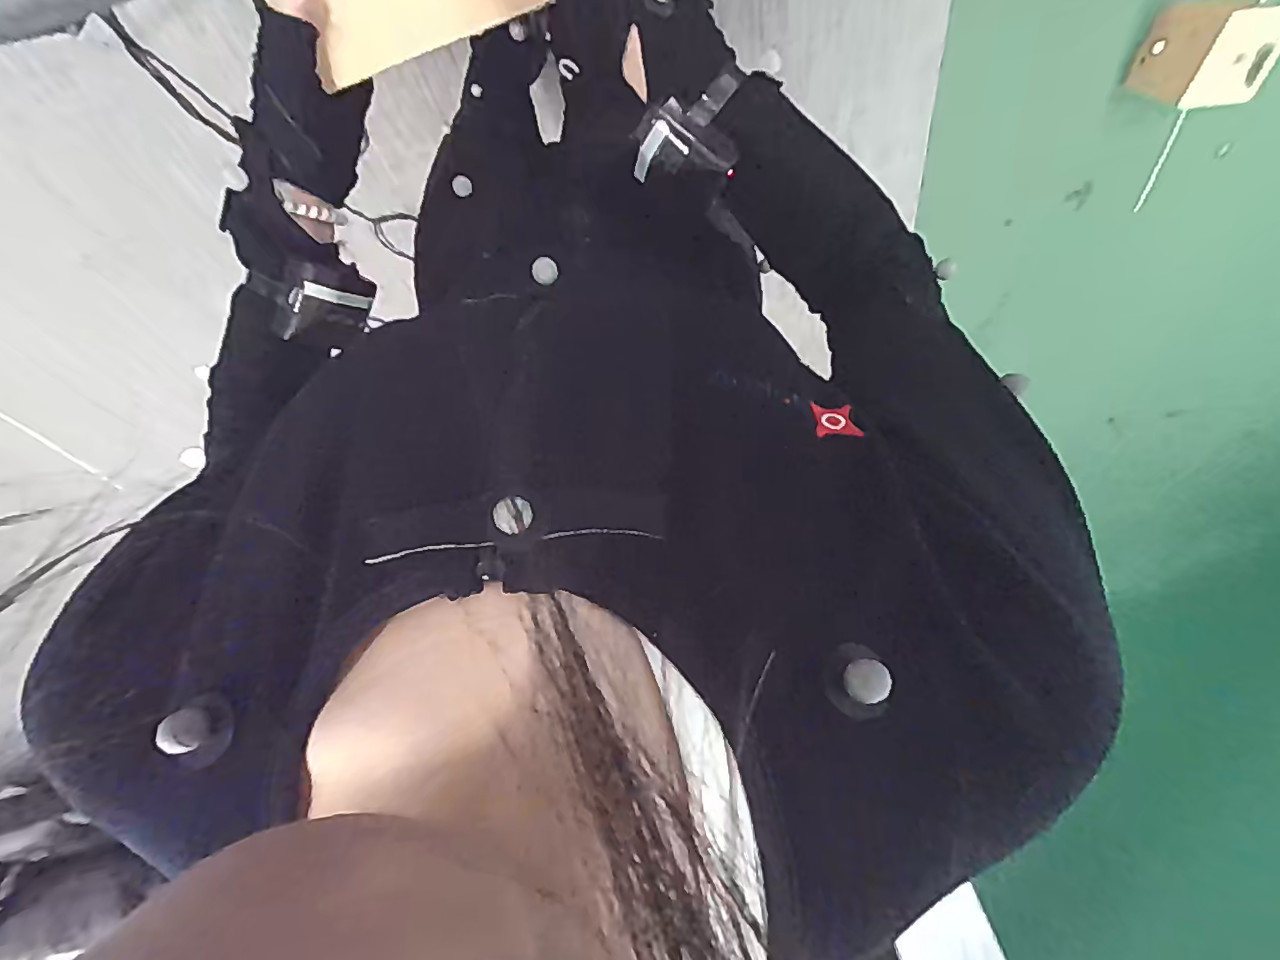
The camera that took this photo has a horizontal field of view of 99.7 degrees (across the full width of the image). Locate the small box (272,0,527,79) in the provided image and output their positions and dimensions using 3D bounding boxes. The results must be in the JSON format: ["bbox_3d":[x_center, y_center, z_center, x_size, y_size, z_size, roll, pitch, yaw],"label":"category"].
[{"bbox_3d":[-0.154,-0.383,0.329,0.179,0.176,0.168,-19,137,5],"label":"small box"}]

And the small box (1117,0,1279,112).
[{"bbox_3d":[1.222,-0.927,1.178,0.179,0.176,0.168,-7,138,-4],"label":"small box"}]
